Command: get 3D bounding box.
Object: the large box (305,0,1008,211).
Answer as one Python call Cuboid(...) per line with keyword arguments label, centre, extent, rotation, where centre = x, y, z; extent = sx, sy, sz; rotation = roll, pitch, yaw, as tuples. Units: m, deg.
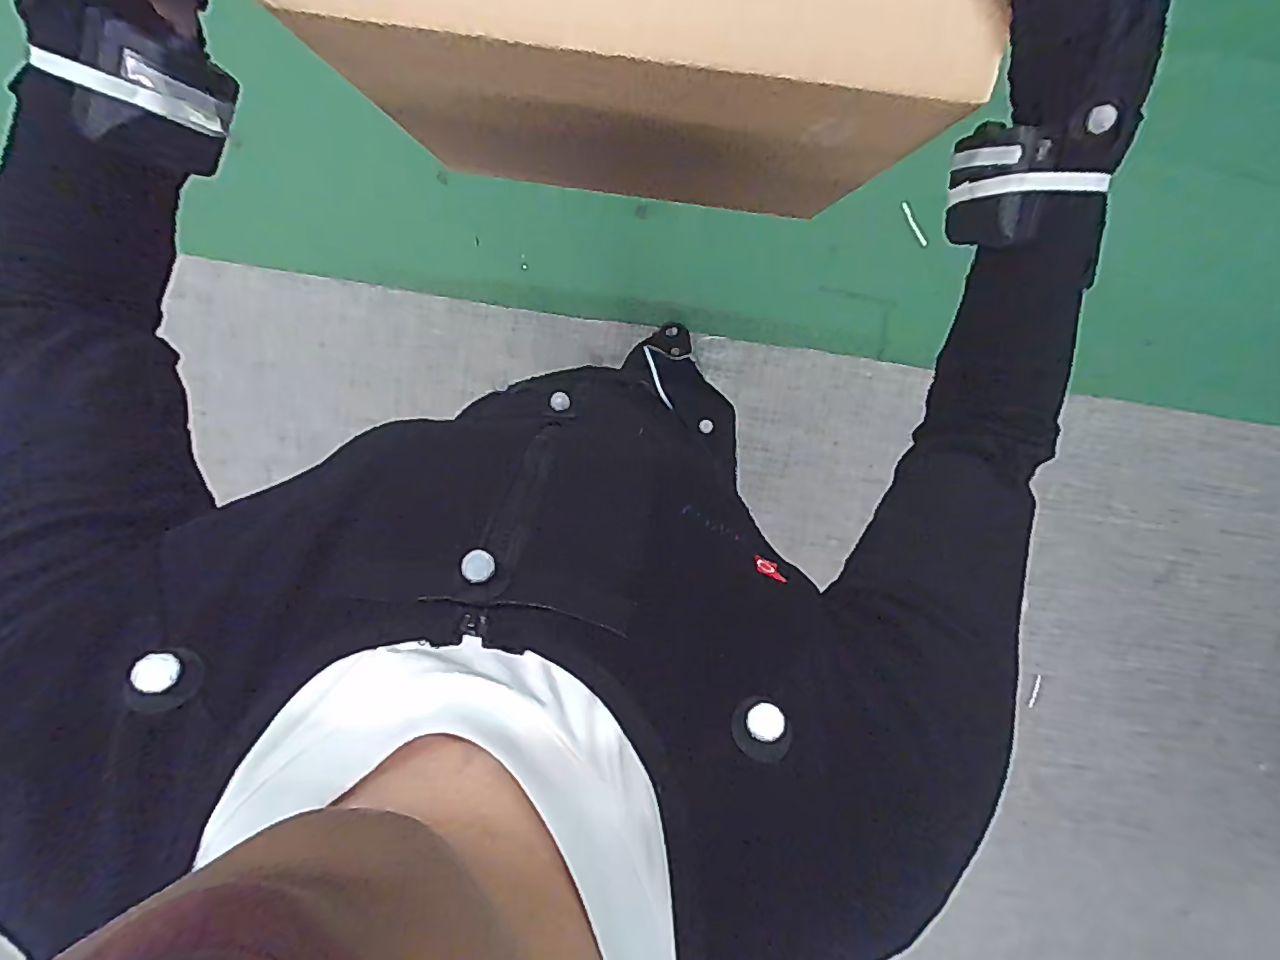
Cuboid(label="large box", centre=(0.018, -0.426, 0.415), extent=(0.408, 0.320, 0.320), rotation=(6, 105, -4))
